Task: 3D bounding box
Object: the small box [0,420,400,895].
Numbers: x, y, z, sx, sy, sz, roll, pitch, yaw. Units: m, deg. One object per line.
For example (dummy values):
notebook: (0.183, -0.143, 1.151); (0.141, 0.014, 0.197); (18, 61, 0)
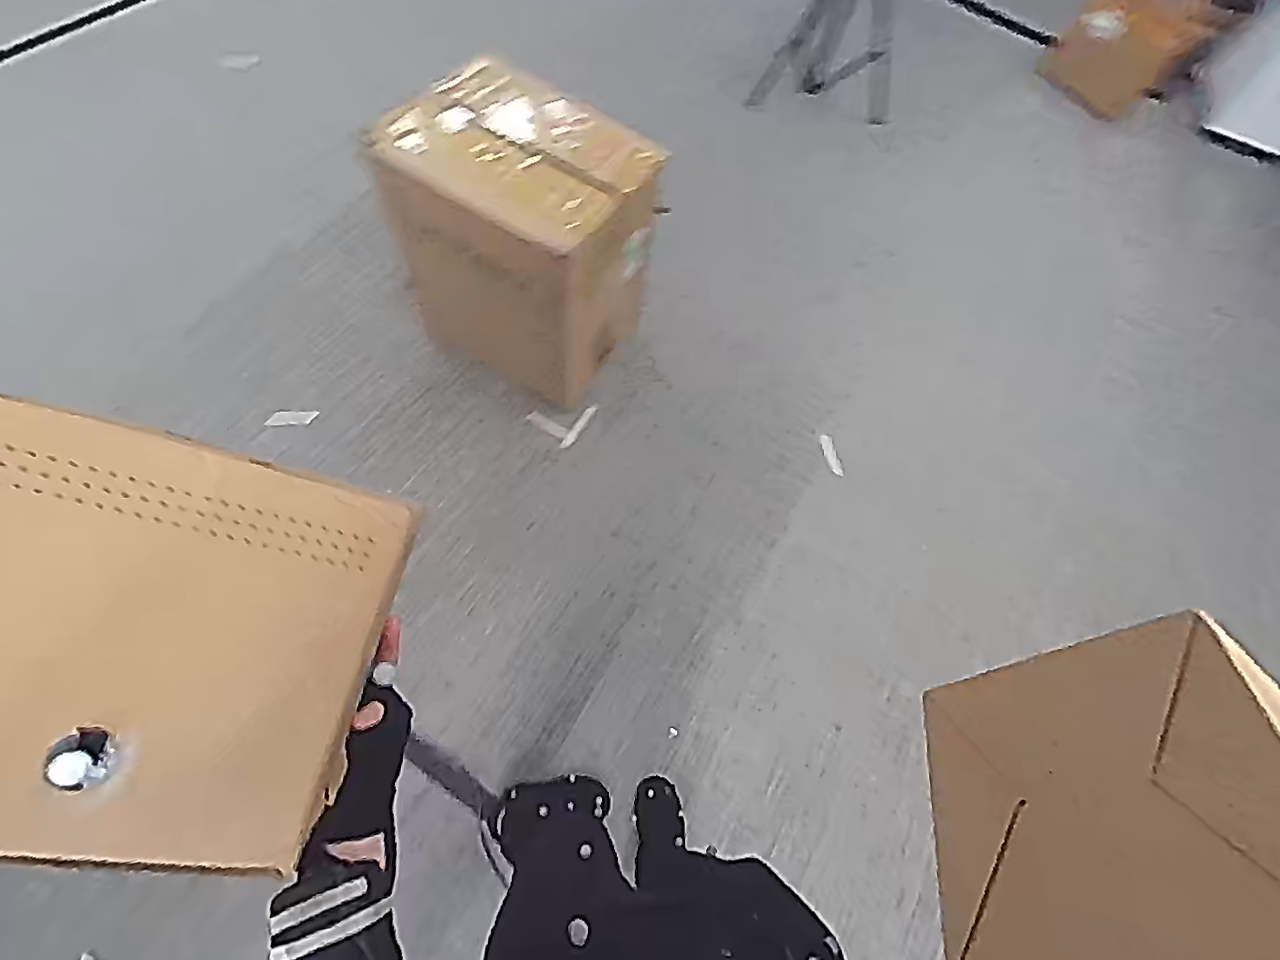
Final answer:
small box: (-0.238, 0.075, 0.285); (0.179, 0.168, 0.176); (16, 81, -18)
